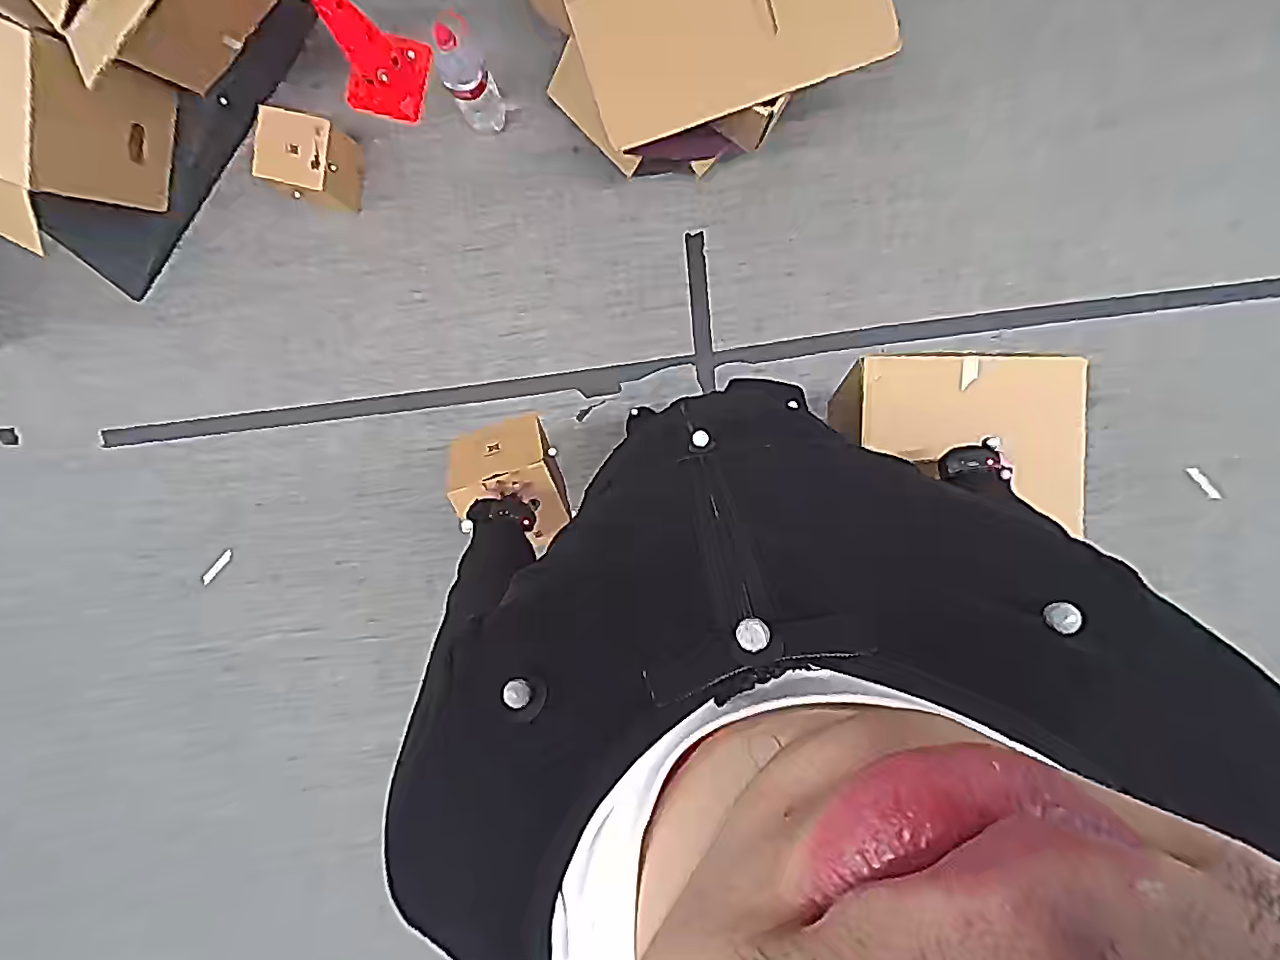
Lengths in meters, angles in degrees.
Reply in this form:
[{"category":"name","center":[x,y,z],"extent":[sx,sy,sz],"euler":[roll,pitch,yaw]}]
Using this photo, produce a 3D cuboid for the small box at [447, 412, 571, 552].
[{"category":"small box","center":[-0.232,0.009,0.981],"extent":[0.168,0.179,0.176],"euler":[-19,127,-3]}]
